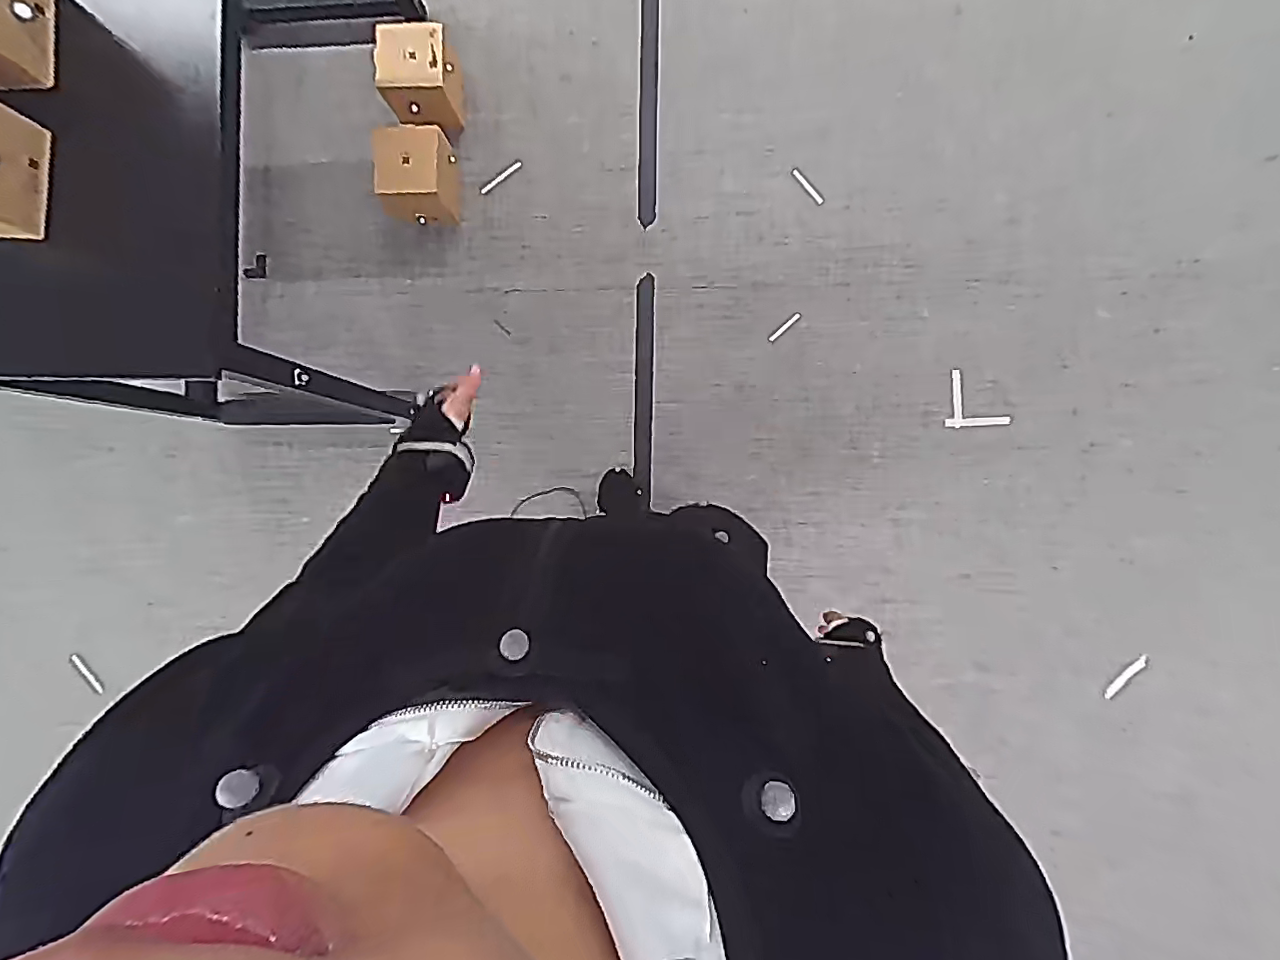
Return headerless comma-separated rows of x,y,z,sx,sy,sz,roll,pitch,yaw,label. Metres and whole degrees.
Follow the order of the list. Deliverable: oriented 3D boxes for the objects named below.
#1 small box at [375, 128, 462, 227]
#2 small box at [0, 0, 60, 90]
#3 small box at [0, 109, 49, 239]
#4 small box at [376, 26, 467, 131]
-0.592,-0.811,1.461,0.168,0.176,0.179,0,90,3,small box
-0.974,-0.673,0.743,0.179,0.176,0.168,0,89,2,small box
-0.981,-0.449,0.740,0.179,0.176,0.168,3,89,2,small box
-0.586,-1.074,1.461,0.179,0.176,0.168,-1,90,3,small box
